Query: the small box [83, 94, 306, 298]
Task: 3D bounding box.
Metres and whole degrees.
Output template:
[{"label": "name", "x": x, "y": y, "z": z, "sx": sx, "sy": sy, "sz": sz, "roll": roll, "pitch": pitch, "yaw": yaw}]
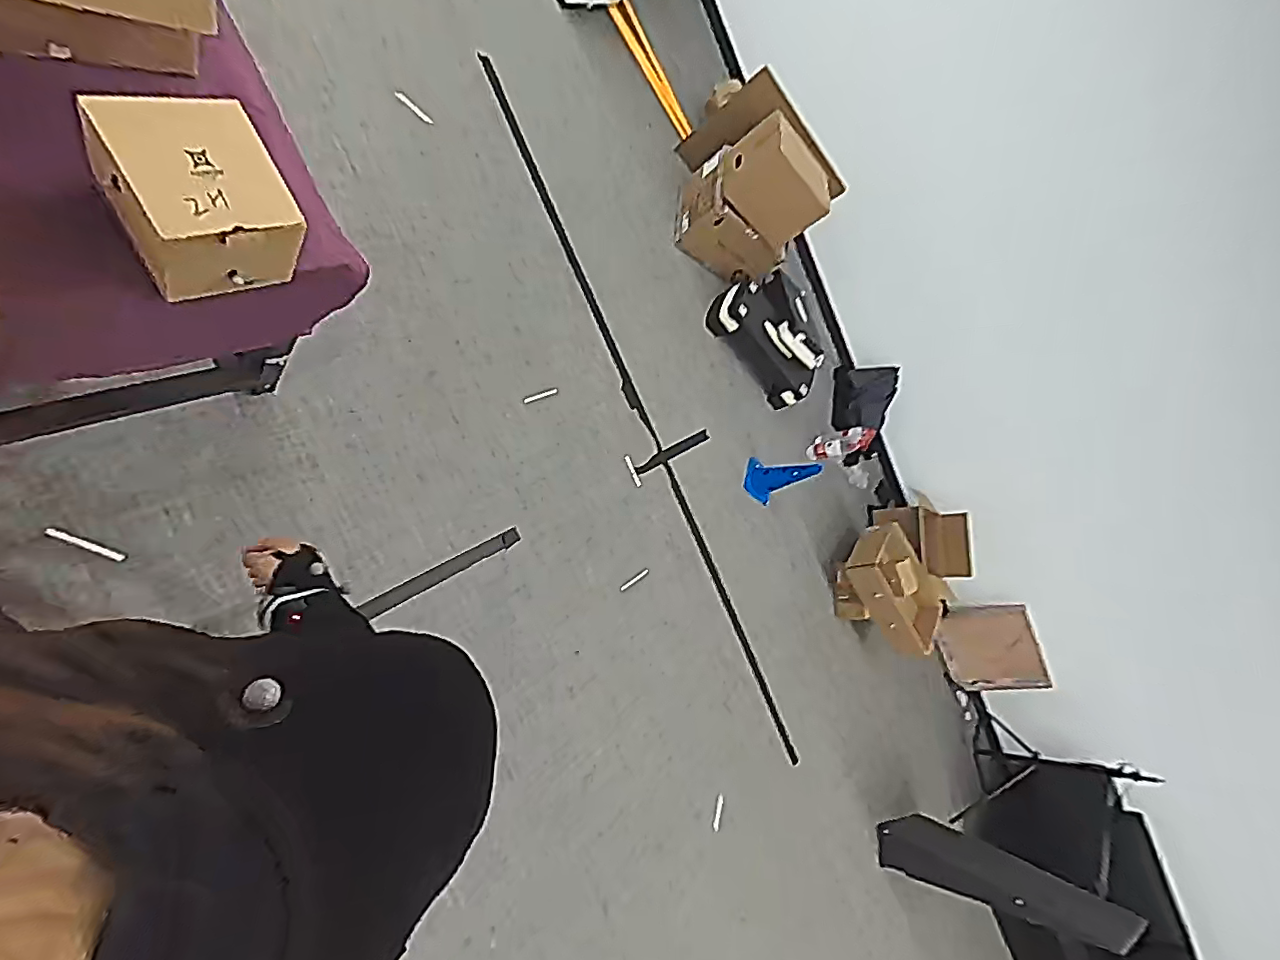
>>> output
[{"label": "small box", "x": -0.594, "y": -0.377, "z": 0.733, "sx": 0.168, "sy": 0.176, "sz": 0.179, "roll": -33, "pitch": 101, "yaw": -39}]
